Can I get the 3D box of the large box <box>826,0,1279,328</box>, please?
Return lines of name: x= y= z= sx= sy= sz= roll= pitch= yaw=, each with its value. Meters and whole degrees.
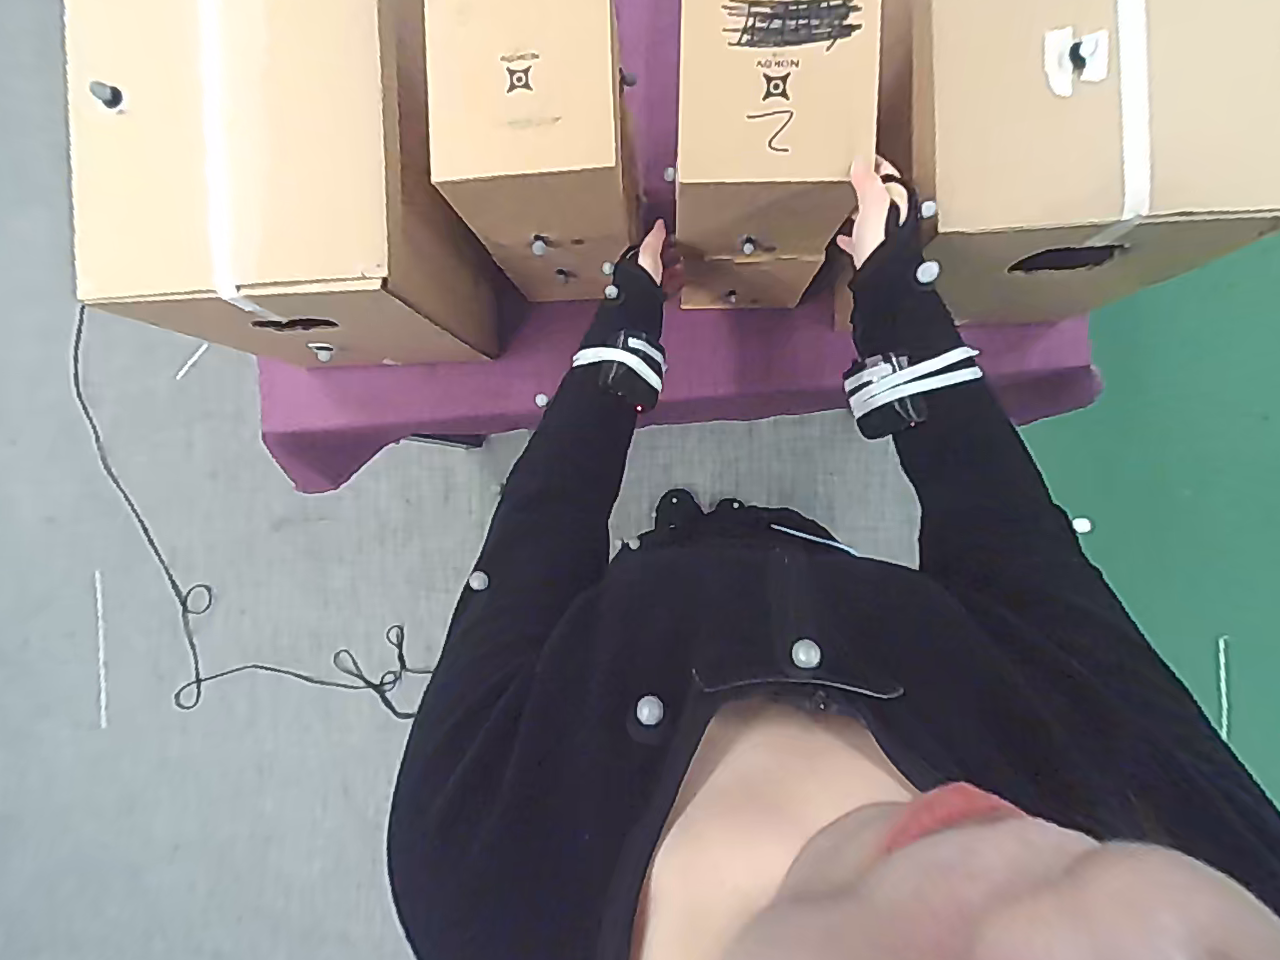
large box: x=0.418 y=-0.417 z=0.621 sx=0.320 sy=0.320 sz=0.408 roll=-1 pitch=90 yaw=4
